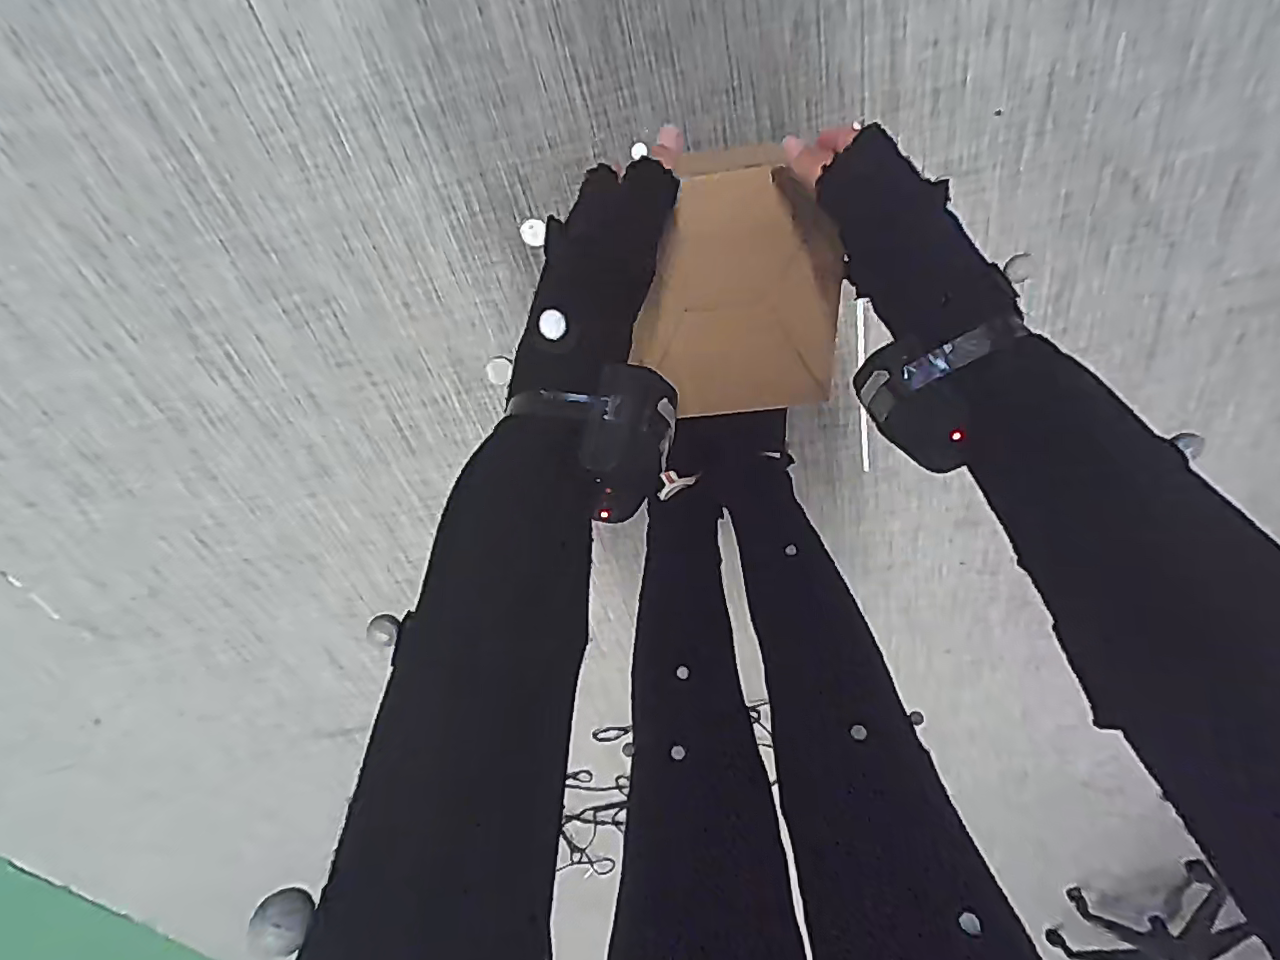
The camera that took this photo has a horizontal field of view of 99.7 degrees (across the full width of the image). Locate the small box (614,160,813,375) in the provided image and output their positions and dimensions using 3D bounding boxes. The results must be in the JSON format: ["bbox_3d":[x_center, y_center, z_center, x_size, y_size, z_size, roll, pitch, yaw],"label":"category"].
[{"bbox_3d":[0.079,-0.246,0.614,0.179,0.176,0.168,-15,121,10],"label":"small box"}]
